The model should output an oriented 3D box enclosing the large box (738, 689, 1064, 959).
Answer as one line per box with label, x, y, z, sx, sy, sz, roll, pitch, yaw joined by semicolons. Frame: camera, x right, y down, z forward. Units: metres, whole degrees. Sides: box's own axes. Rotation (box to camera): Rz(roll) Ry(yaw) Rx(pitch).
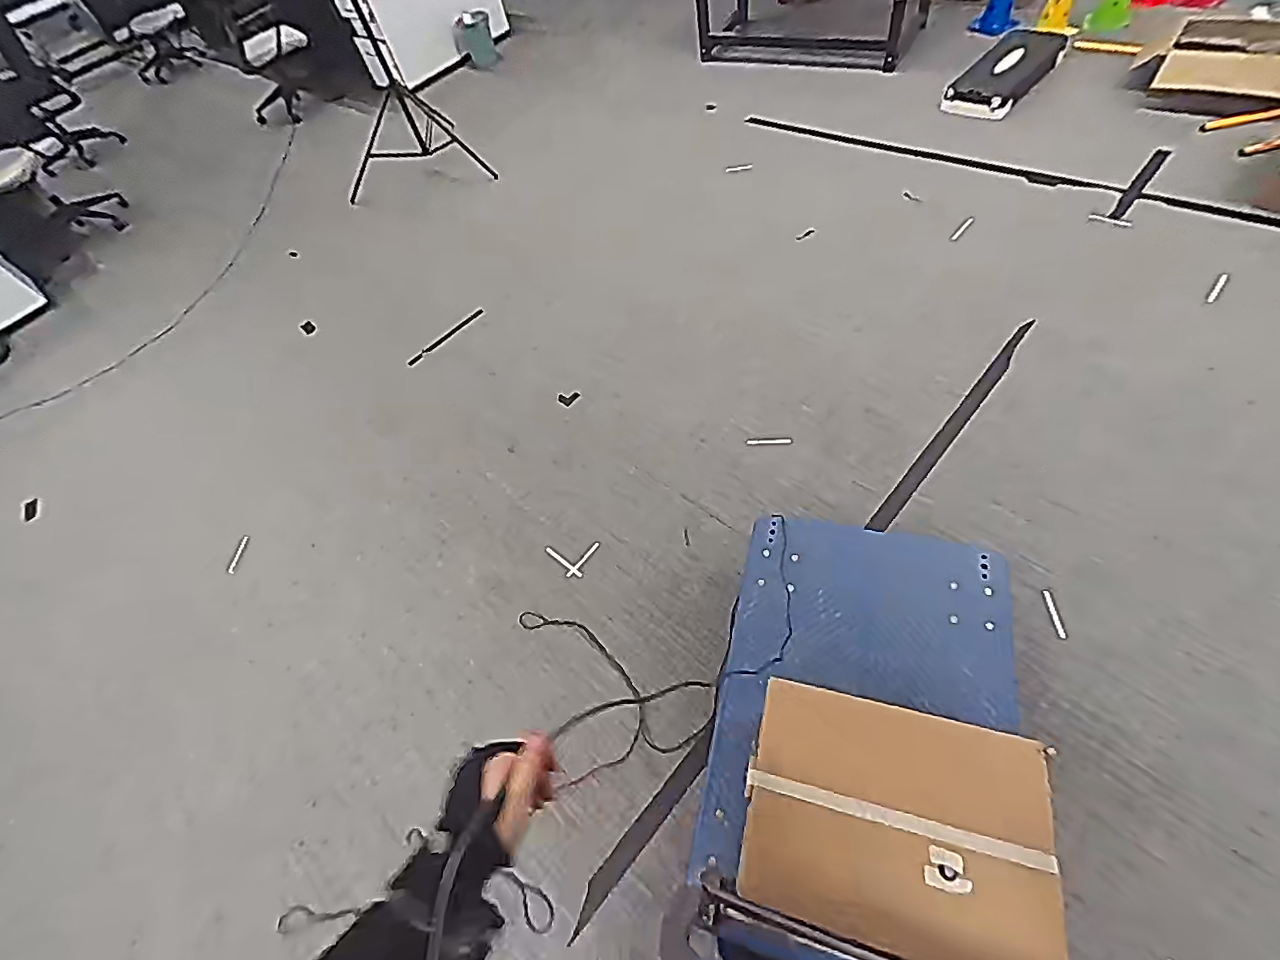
large box;0.384;0.581;0.892;0.408;0.320;0.320;9;59;16
